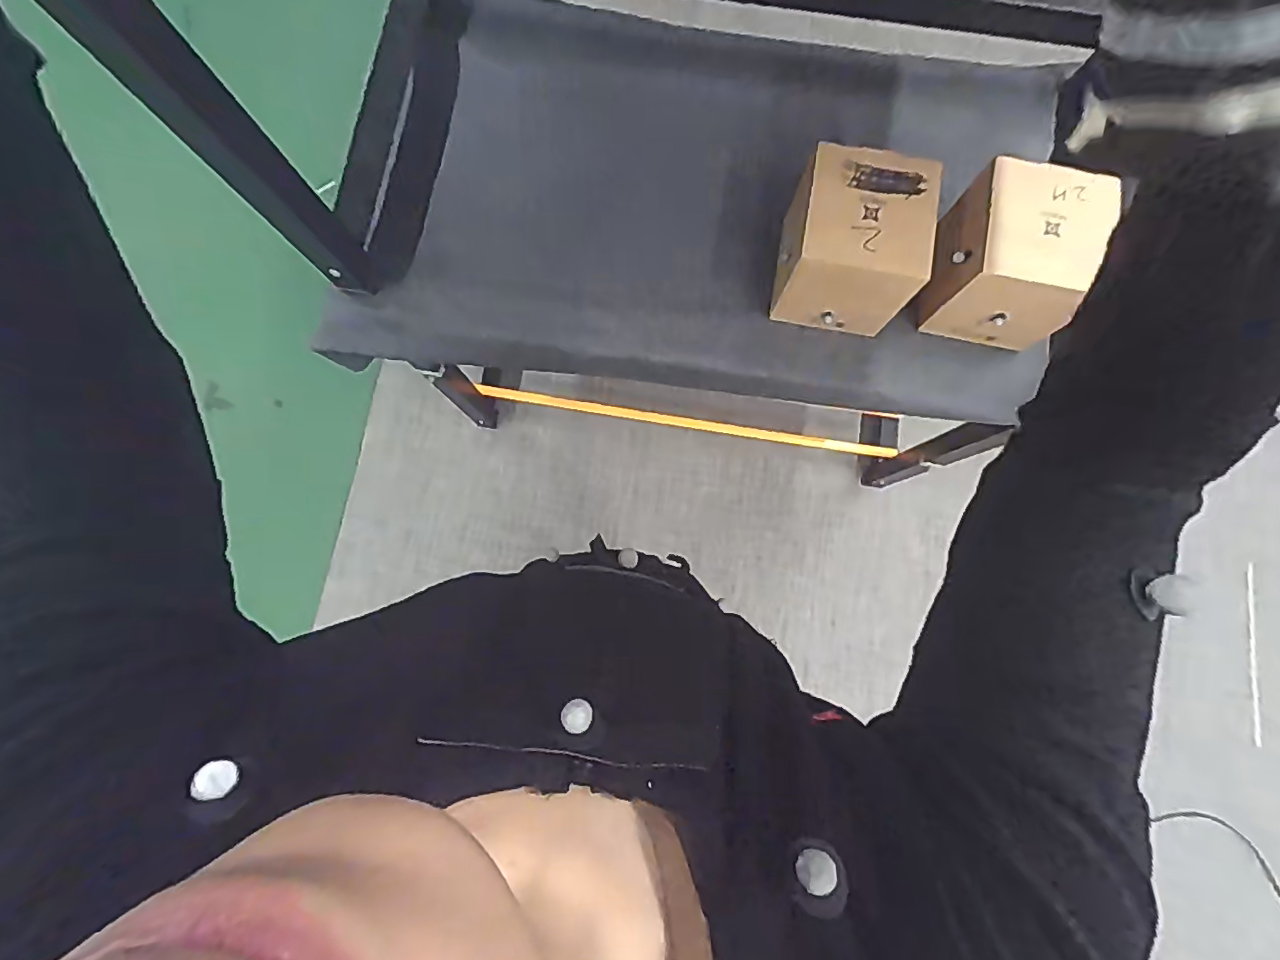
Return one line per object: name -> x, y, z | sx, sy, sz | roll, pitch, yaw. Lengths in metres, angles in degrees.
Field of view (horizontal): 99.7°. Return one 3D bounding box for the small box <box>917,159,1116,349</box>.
small box -> 0.521, -0.309, 0.771 | 0.168, 0.176, 0.179 | 12, 79, 2
